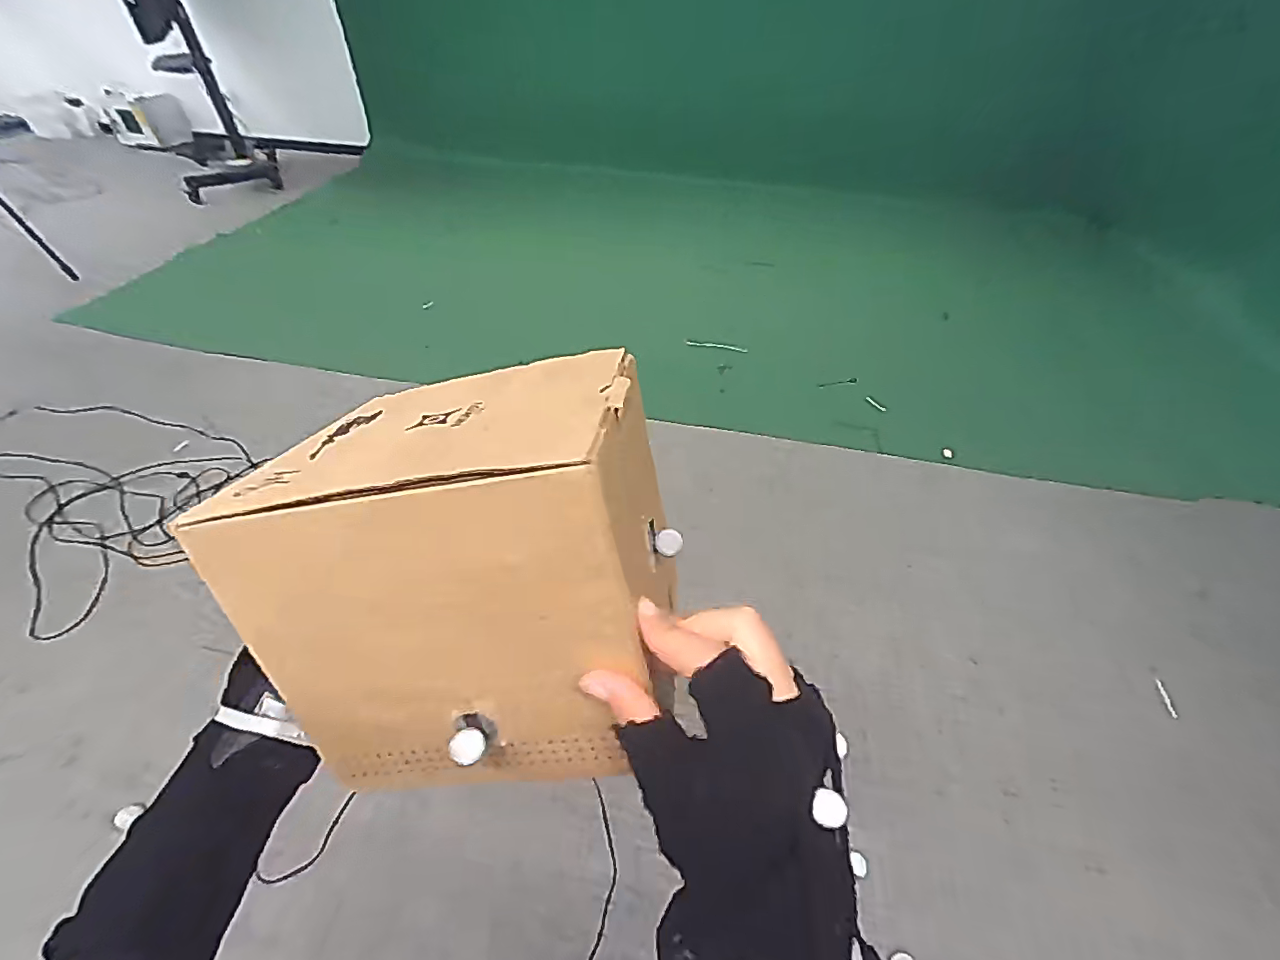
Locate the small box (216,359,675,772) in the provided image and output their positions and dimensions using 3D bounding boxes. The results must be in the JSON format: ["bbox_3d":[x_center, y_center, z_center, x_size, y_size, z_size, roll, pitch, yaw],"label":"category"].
[{"bbox_3d":[-0.075,0.043,0.320,0.179,0.176,0.168,-9,25,8],"label":"small box"}]
